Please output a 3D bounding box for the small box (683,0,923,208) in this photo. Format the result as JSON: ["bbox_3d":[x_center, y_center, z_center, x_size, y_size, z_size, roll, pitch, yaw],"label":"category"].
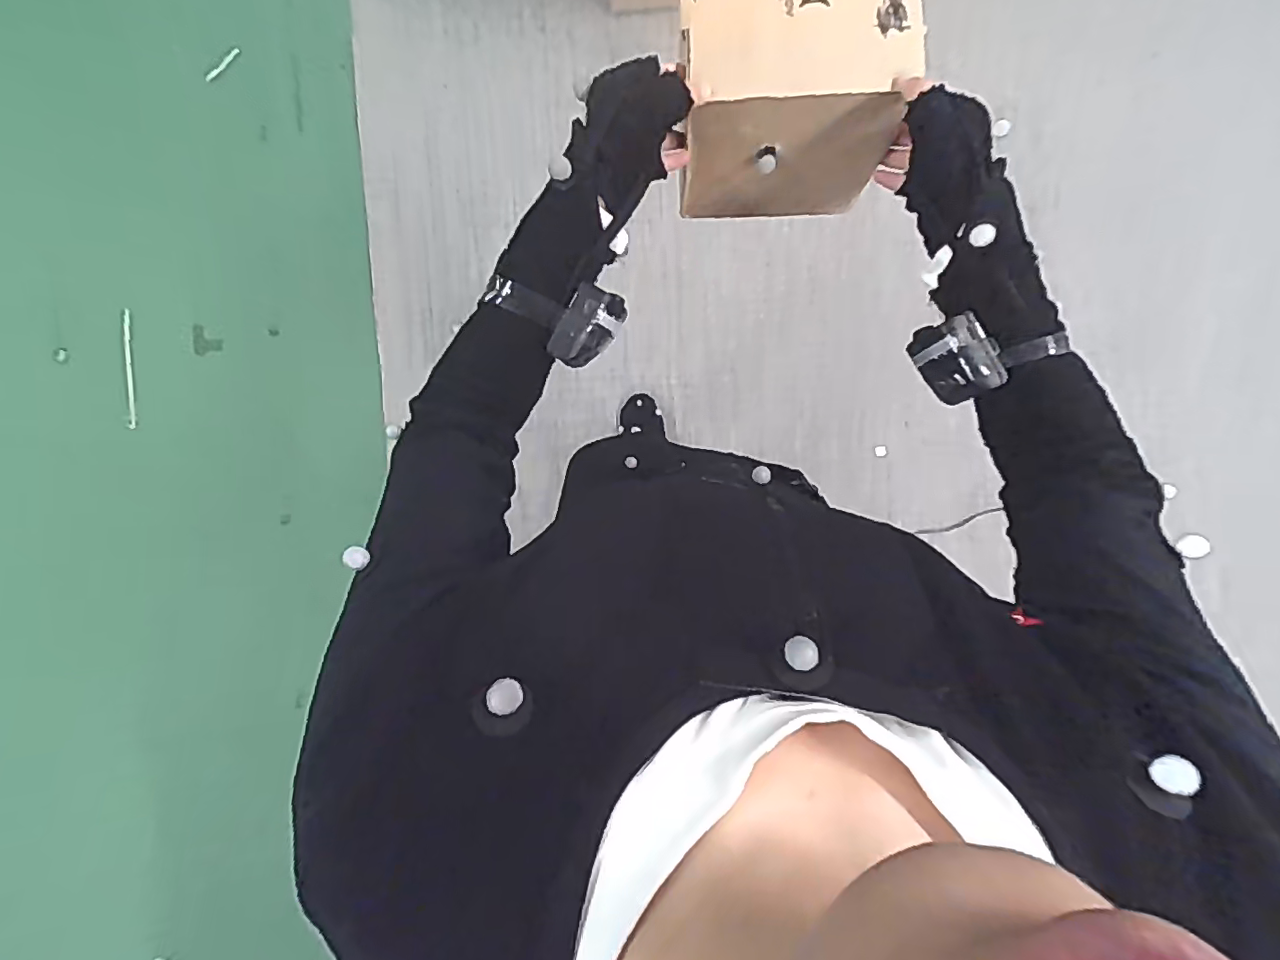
[{"bbox_3d":[0.127,-0.368,0.487,0.179,0.176,0.168,-1,87,3],"label":"small box"}]
